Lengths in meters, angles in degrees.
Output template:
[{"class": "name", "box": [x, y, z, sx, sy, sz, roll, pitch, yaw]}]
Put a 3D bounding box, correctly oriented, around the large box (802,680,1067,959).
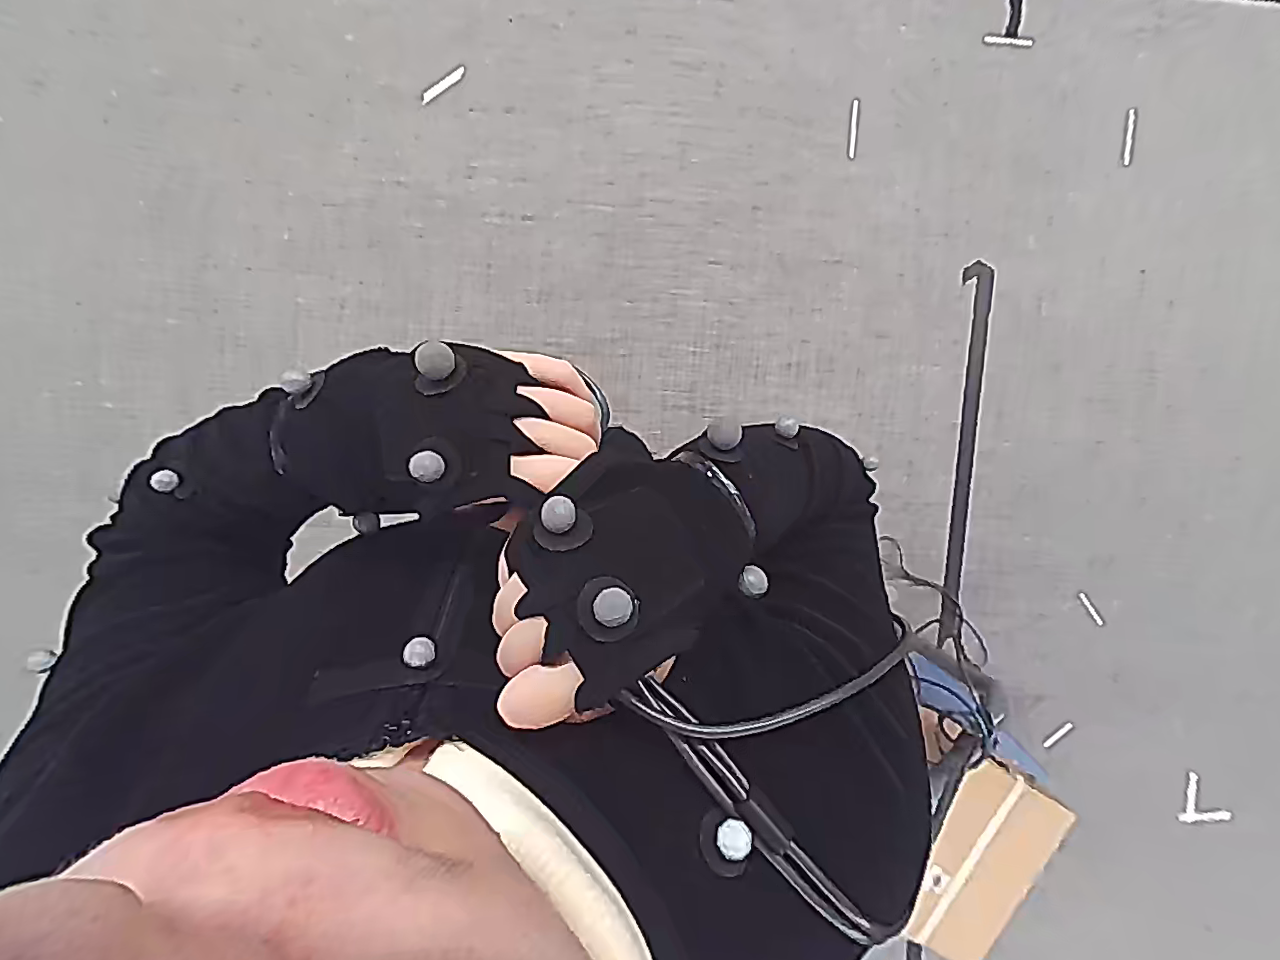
[{"class": "large box", "box": [0.657, 0.765, 1.269, 0.320, 0.320, 0.408, 32, 92, -5]}]
